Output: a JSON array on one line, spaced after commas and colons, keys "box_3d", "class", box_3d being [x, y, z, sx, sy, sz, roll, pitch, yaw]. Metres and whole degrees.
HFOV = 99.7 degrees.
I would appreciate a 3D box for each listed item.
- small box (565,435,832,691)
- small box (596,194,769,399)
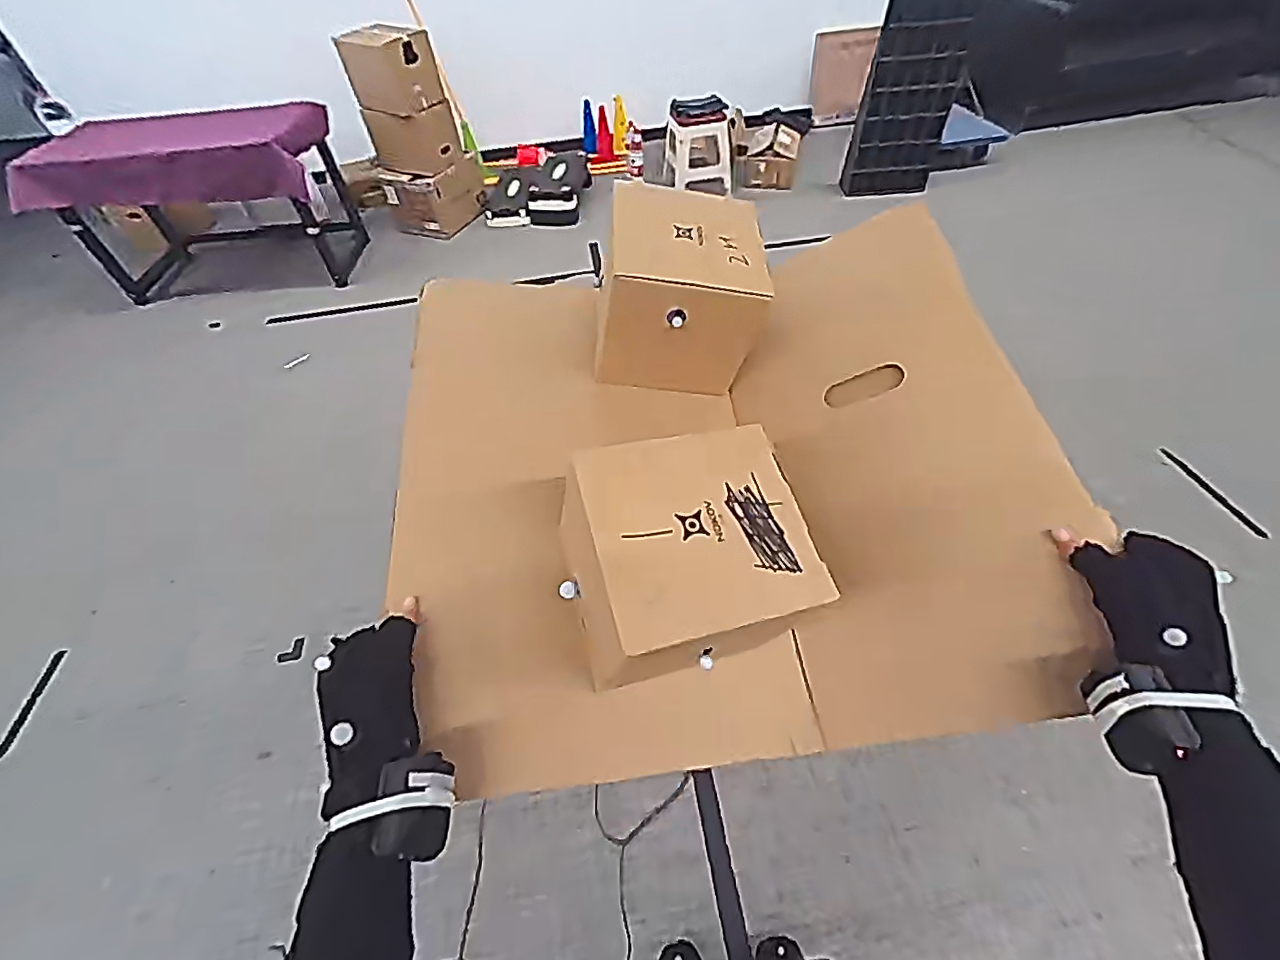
[{"box_3d": [0.035, 0.081, 0.499, 0.179, 0.176, 0.168, -10, 63, -16], "class": "small box"}, {"box_3d": [0.040, -0.220, 0.676, 0.179, 0.176, 0.168, 5, 59, -10], "class": "small box"}]
